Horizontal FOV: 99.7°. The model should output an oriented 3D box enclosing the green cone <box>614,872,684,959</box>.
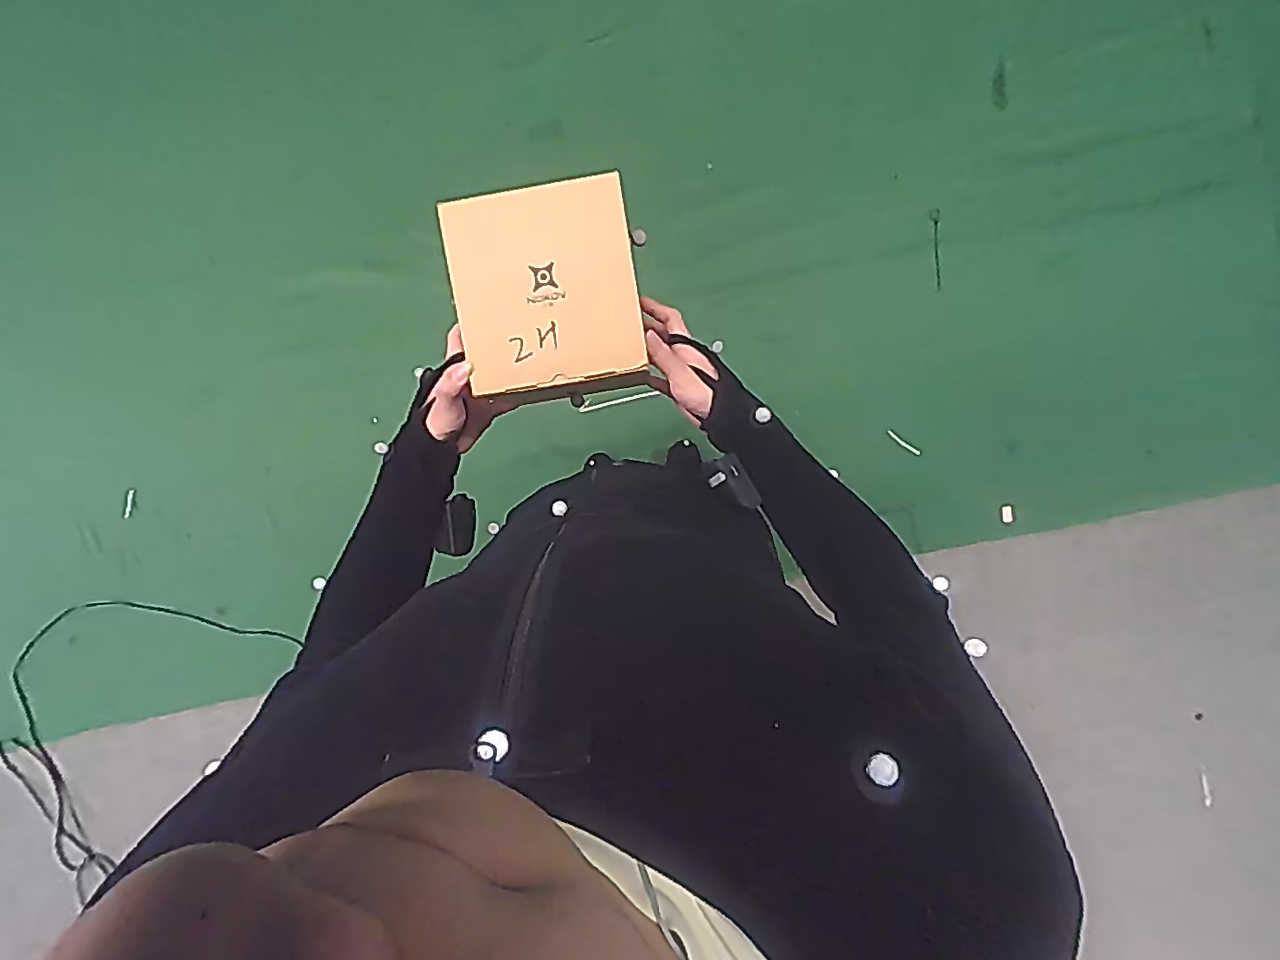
[{"bbox_3d":[0.021,1.362,1.552,0.202,0.368,0.200,-11,93,3],"label":"green cone"}]
